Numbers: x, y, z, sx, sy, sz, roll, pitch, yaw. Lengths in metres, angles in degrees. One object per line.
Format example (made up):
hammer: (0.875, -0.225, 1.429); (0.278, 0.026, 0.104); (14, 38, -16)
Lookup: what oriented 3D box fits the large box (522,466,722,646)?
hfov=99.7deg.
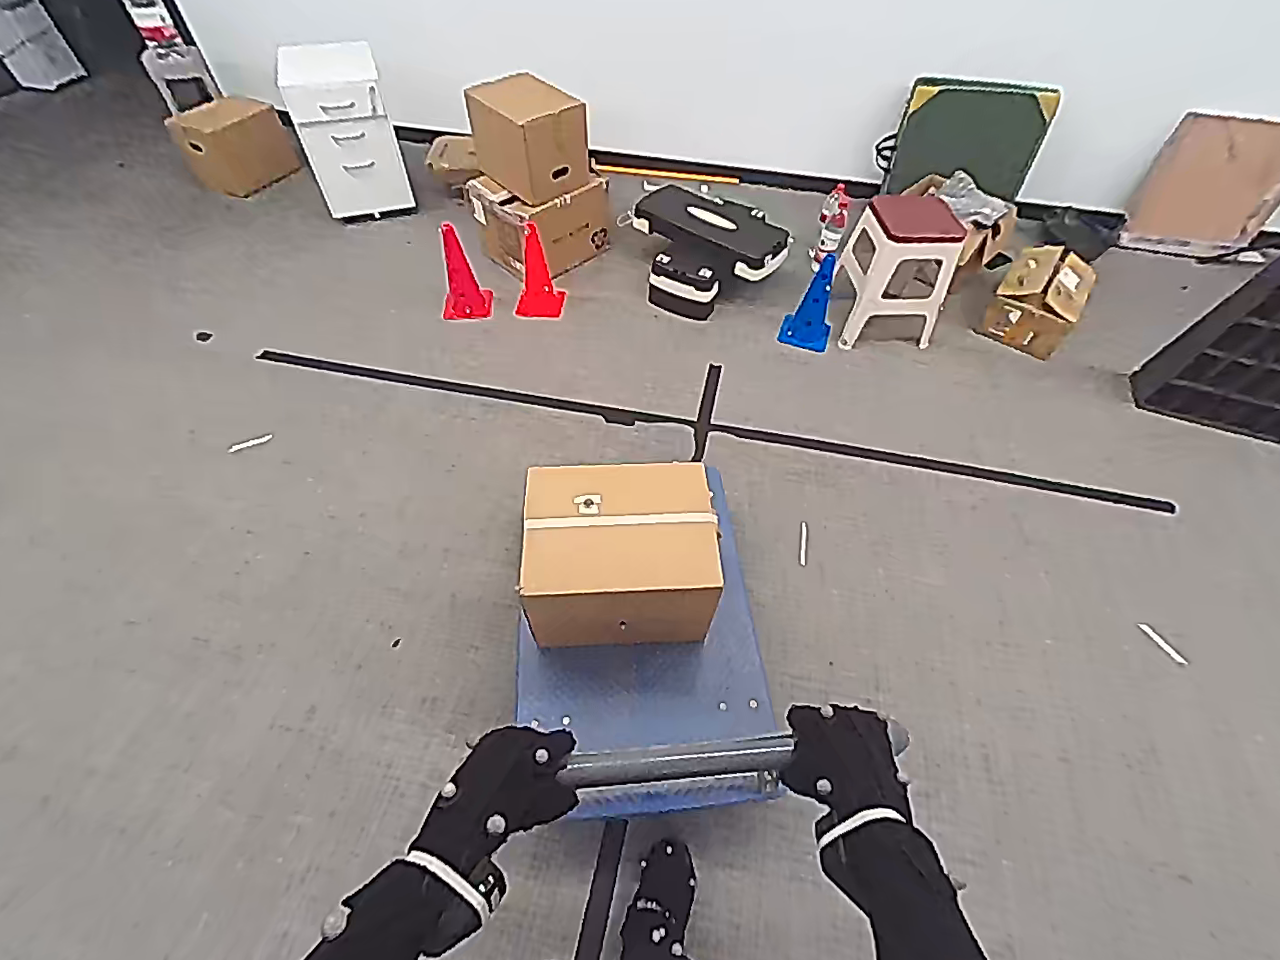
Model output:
large box: (-0.045, 0.186, 1.270); (0.408, 0.320, 0.320); (-2, 54, -3)
